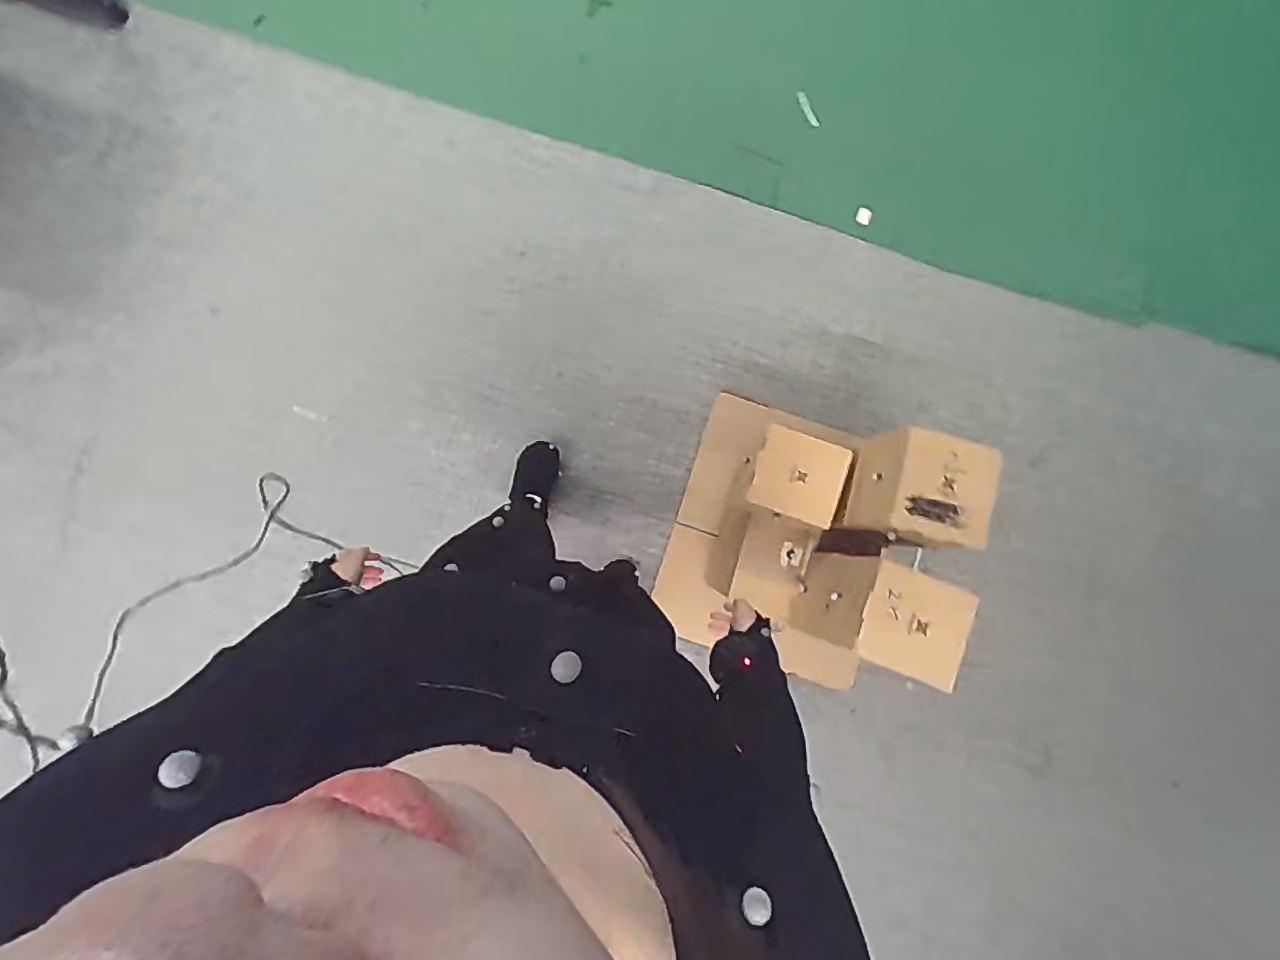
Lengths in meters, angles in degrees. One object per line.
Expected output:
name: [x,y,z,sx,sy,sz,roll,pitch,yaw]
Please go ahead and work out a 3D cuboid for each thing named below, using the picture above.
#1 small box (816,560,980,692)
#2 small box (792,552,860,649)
small box: [0.444,0.244,0.954,0.179,0.176,0.168,22,82,-1]
small box: [0.433,0.259,1.121,0.168,0.176,0.179,21,82,-1]
